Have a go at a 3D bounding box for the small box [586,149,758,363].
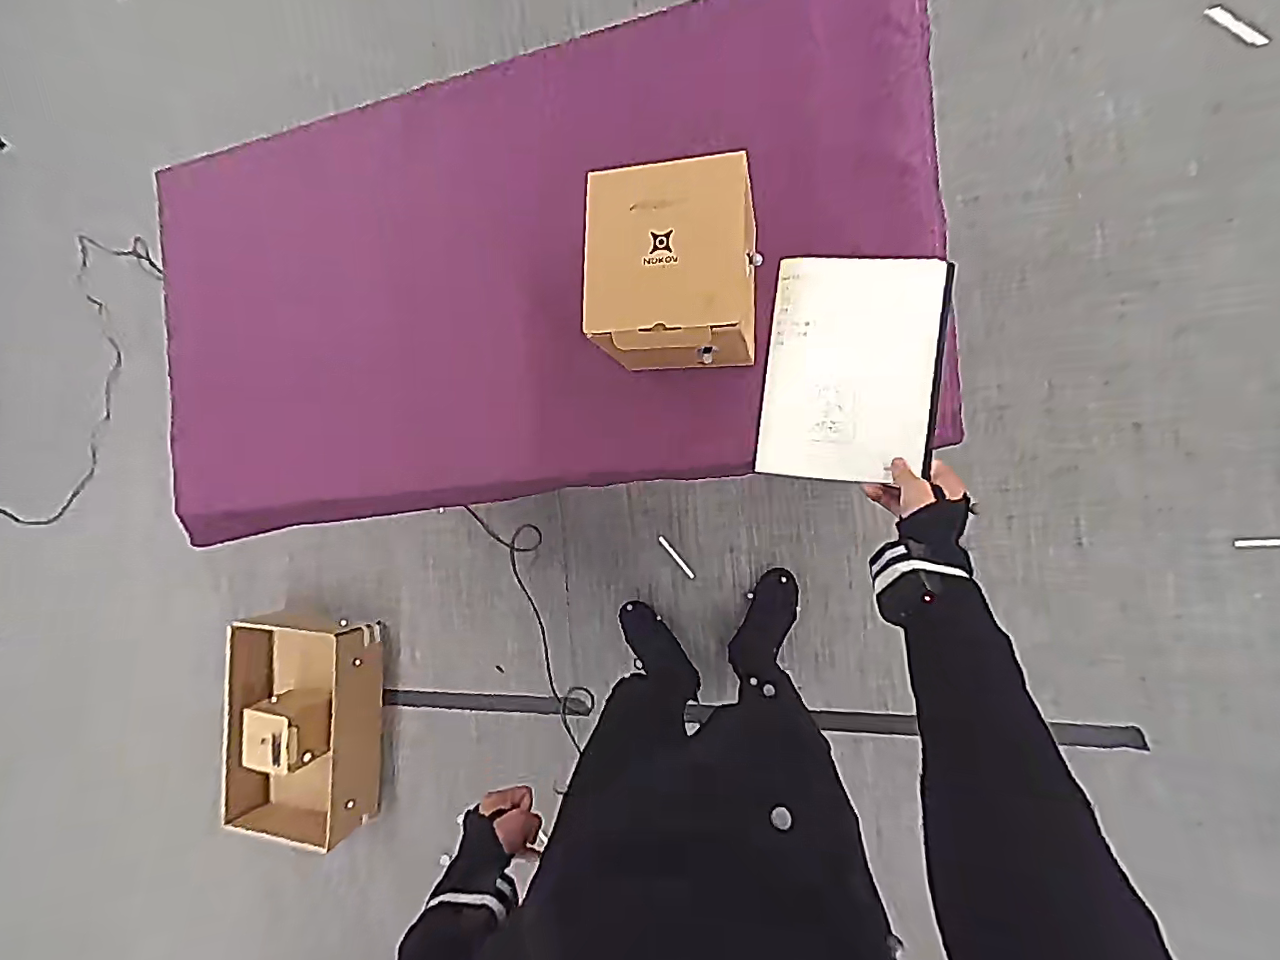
[{"bbox_3d":[0.047,-0.235,0.619,0.168,0.176,0.179,1,89,15],"label":"small box"}]
